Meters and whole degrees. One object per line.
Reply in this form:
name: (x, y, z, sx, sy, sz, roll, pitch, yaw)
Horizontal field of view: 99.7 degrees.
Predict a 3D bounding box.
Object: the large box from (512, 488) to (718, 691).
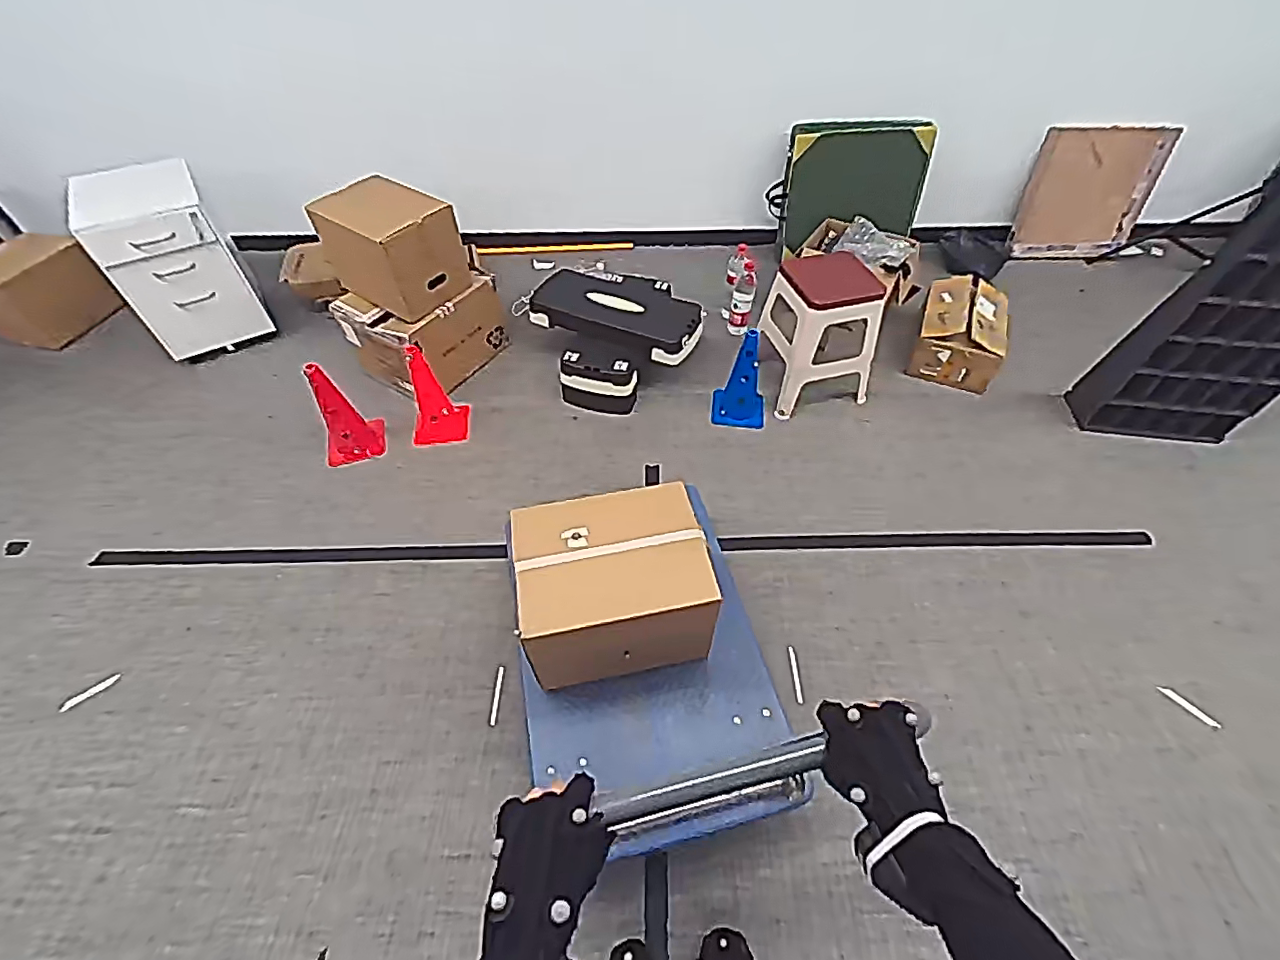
large box: (-0.062, 0.262, 1.277, 0.408, 0.320, 0.320, -10, 52, -6)
